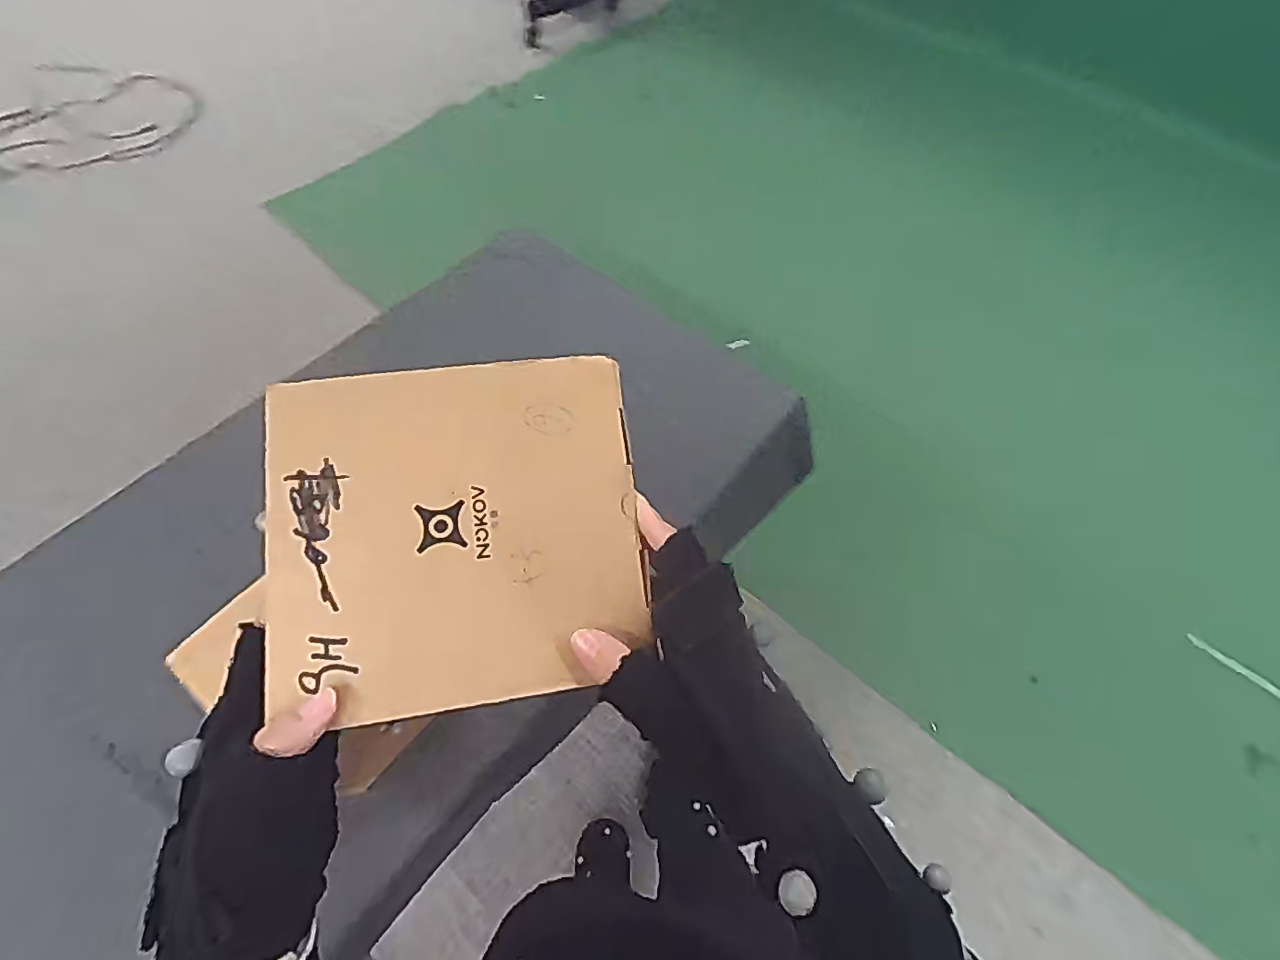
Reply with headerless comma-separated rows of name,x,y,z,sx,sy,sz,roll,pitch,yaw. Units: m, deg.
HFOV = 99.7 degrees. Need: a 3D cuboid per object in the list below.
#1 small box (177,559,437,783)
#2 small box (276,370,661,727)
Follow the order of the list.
small box,-0.293,0.174,0.550,0.168,0.176,0.179,39,67,19
small box,-0.093,0.042,0.344,0.179,0.176,0.168,-5,77,-8
